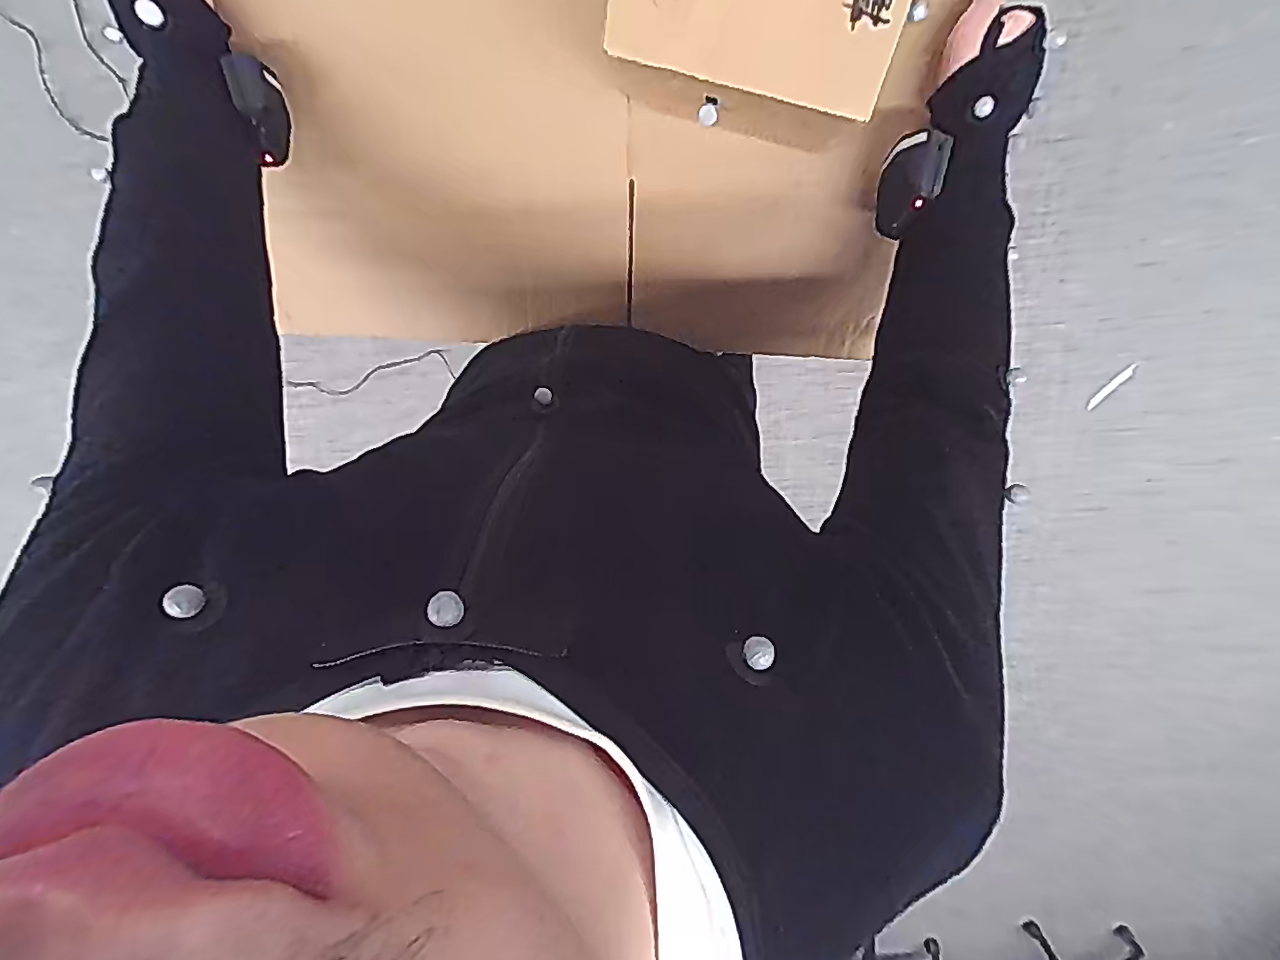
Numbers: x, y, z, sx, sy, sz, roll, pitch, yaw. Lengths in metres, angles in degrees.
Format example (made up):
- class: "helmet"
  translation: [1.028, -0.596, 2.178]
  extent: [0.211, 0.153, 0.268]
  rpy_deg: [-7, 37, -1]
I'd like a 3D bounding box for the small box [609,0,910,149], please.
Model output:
- class: "small box"
  translation: [0.093, -0.355, 0.384]
  extent: [0.179, 0.176, 0.168]
  rpy_deg: [16, 116, 2]
